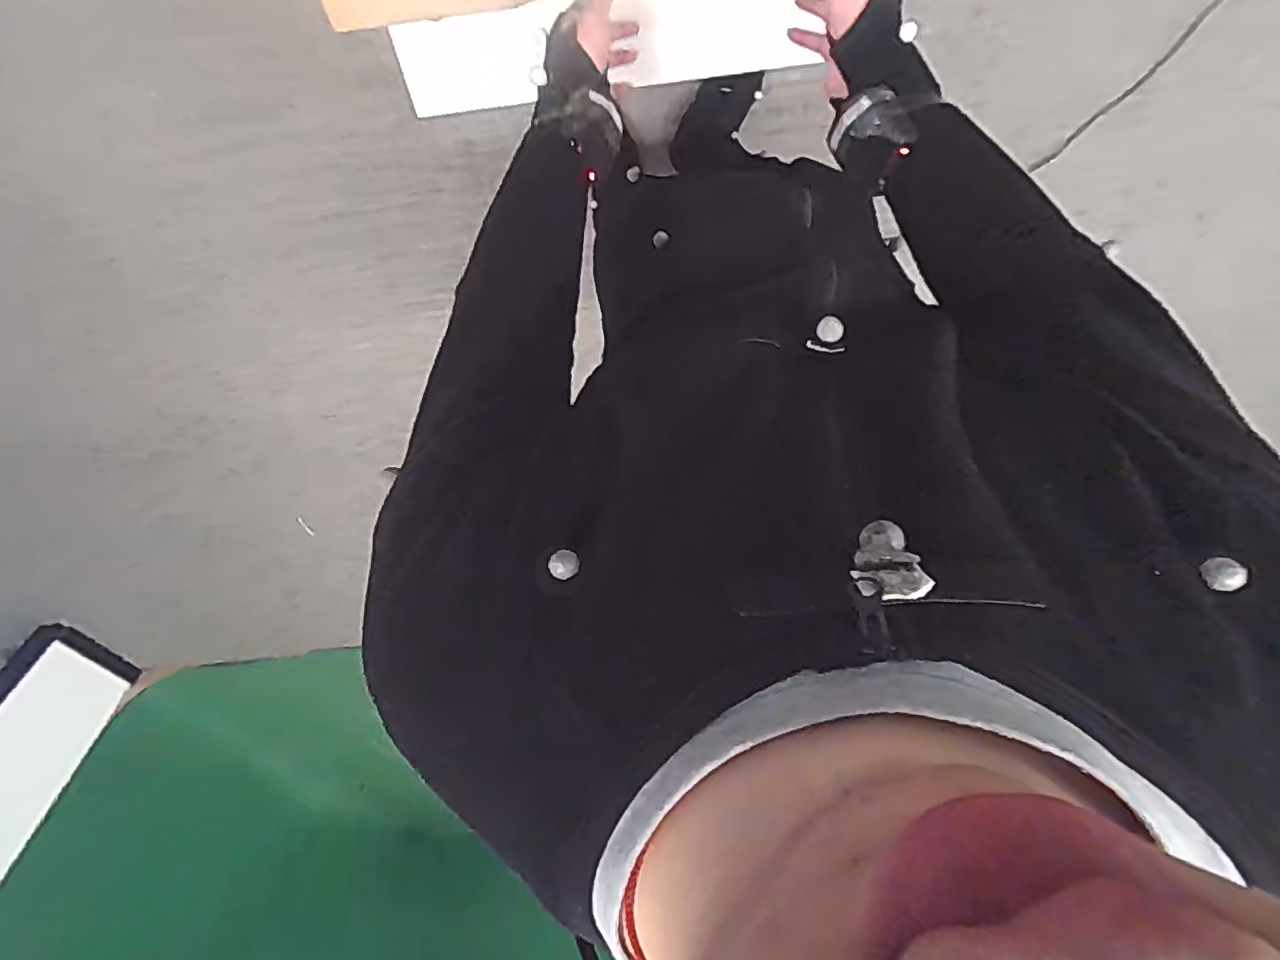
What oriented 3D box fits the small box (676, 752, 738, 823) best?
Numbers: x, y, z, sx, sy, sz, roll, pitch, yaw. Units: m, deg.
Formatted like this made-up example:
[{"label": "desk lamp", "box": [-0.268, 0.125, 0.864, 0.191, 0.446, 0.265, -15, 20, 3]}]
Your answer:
[{"label": "small box", "box": [0.218, 1.016, 1.794, 0.179, 0.176, 0.168, -2, 133, 0]}]
